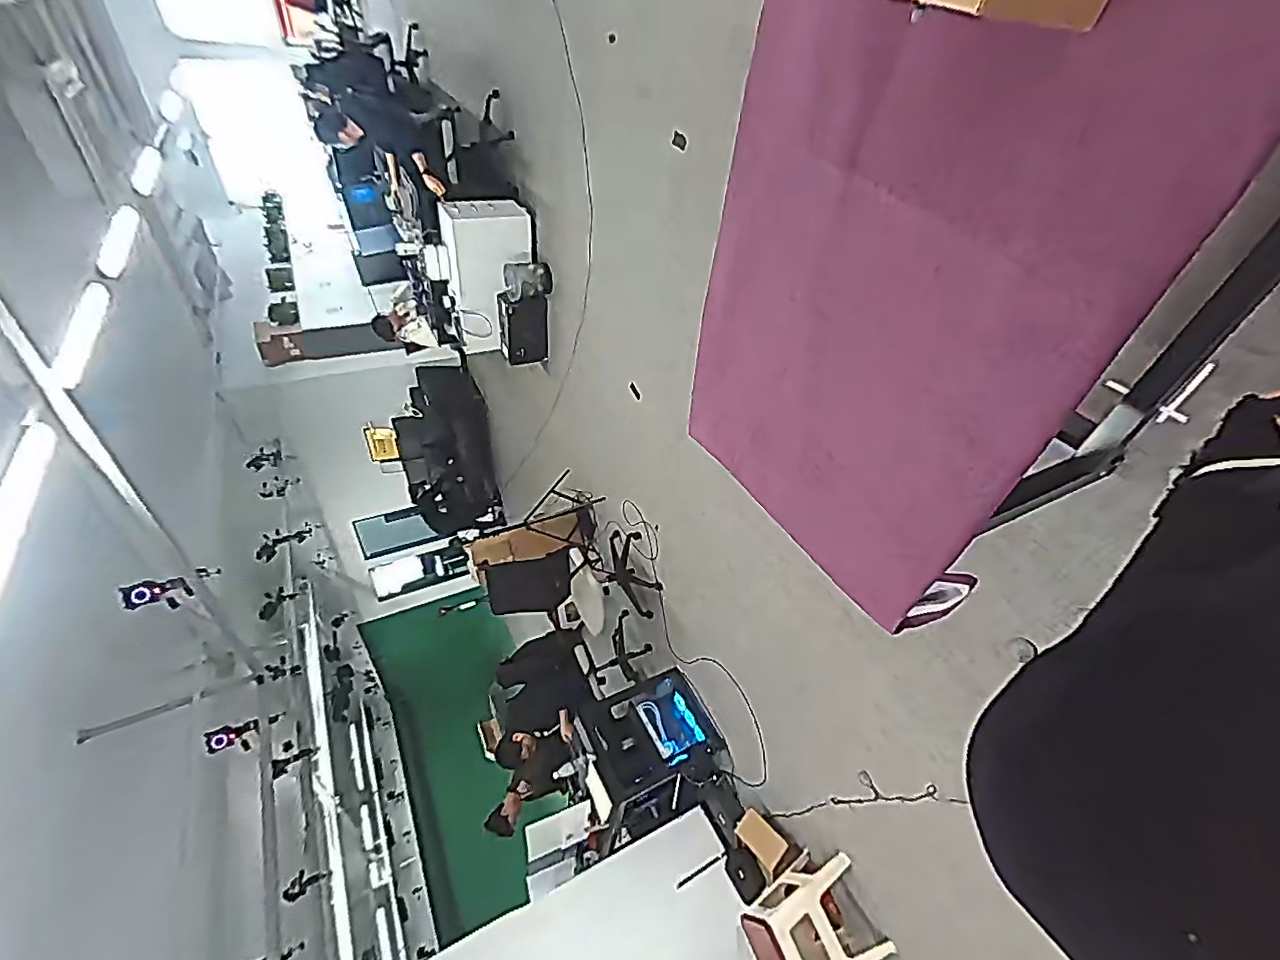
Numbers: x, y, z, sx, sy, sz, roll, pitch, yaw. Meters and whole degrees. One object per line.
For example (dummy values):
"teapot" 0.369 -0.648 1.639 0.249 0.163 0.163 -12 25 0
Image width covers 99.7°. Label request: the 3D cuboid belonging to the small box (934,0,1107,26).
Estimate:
"small box" 0.324 -0.517 0.466 0.179 0.176 0.168 58 151 36
